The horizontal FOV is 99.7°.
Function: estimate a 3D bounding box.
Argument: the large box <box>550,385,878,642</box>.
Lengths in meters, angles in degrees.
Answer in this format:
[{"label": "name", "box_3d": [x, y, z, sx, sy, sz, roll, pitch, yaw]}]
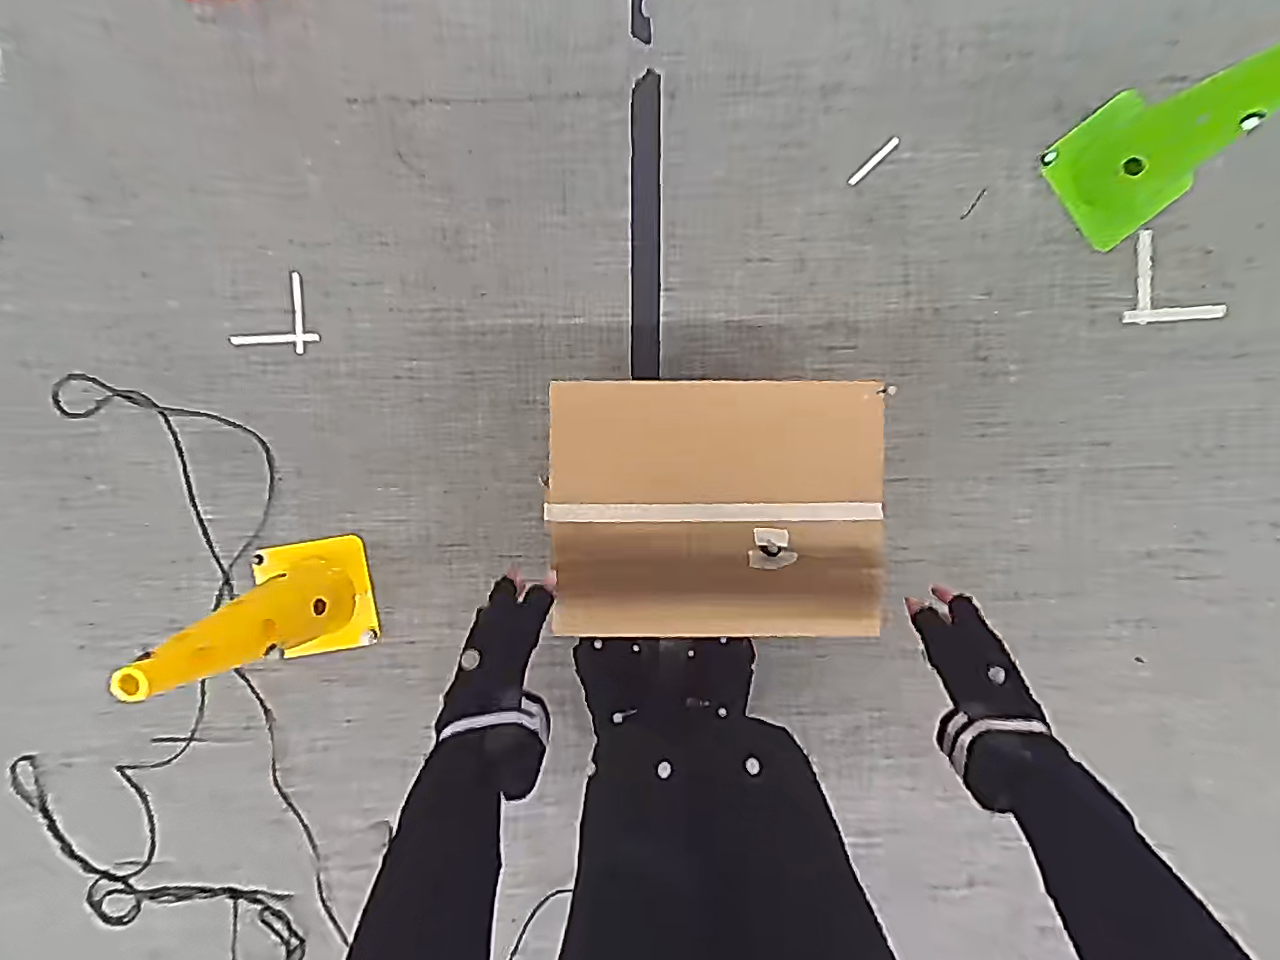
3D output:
[{"label": "large box", "box_3d": [0.089, 0.037, 0.808, 0.408, 0.320, 0.320, 0, 93, -1]}]

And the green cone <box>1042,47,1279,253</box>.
[{"label": "green cone", "box_3d": [0.802, -0.501, 0.735, 0.202, 0.368, 0.200, -39, 93, 1]}]
